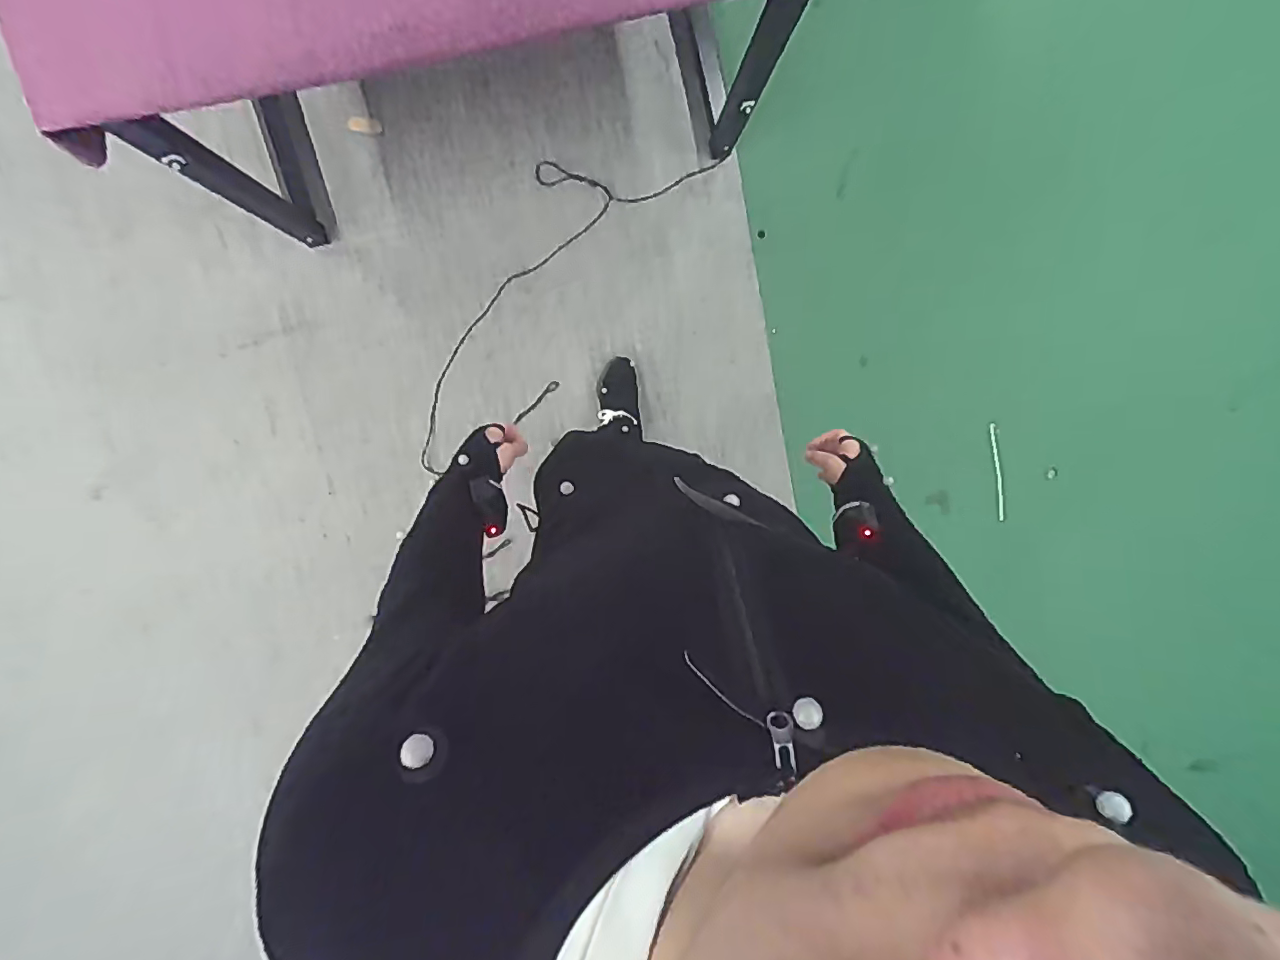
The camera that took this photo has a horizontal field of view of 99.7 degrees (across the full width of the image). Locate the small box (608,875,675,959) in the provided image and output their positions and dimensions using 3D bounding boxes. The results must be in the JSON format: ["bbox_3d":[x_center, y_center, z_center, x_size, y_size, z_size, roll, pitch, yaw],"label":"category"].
[{"bbox_3d":[0.002,1.396,1.691,0.168,0.176,0.179,-19,98,-2],"label":"small box"}]

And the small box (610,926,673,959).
[{"bbox_3d":[0.015,1.416,1.530,0.168,0.176,0.179,-16,99,-3],"label":"small box"}]
